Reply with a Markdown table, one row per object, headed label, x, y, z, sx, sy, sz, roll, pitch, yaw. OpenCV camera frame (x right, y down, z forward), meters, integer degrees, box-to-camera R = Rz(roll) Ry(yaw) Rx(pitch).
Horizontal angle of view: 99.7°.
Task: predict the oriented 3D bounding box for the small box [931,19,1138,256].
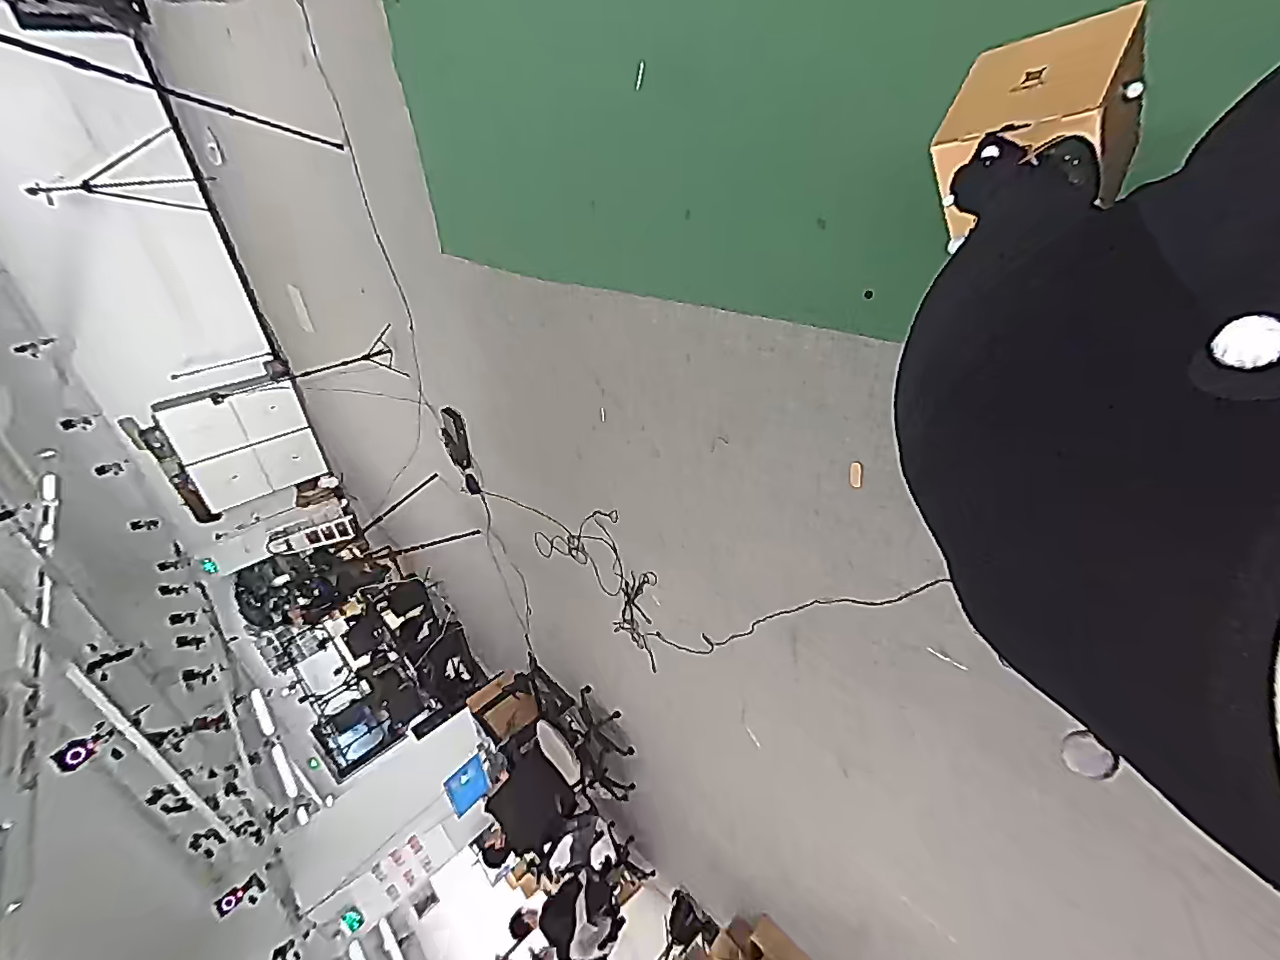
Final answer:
| label | x | y | z | sx | sy | sz | roll | pitch | yaw |
| --- | --- | --- | --- | --- | --- | --- | --- | --- | --- |
| small box | 0.504 | -0.420 | 0.695 | 0.168 | 0.179 | 0.176 | 15 | 160 | 46 |
